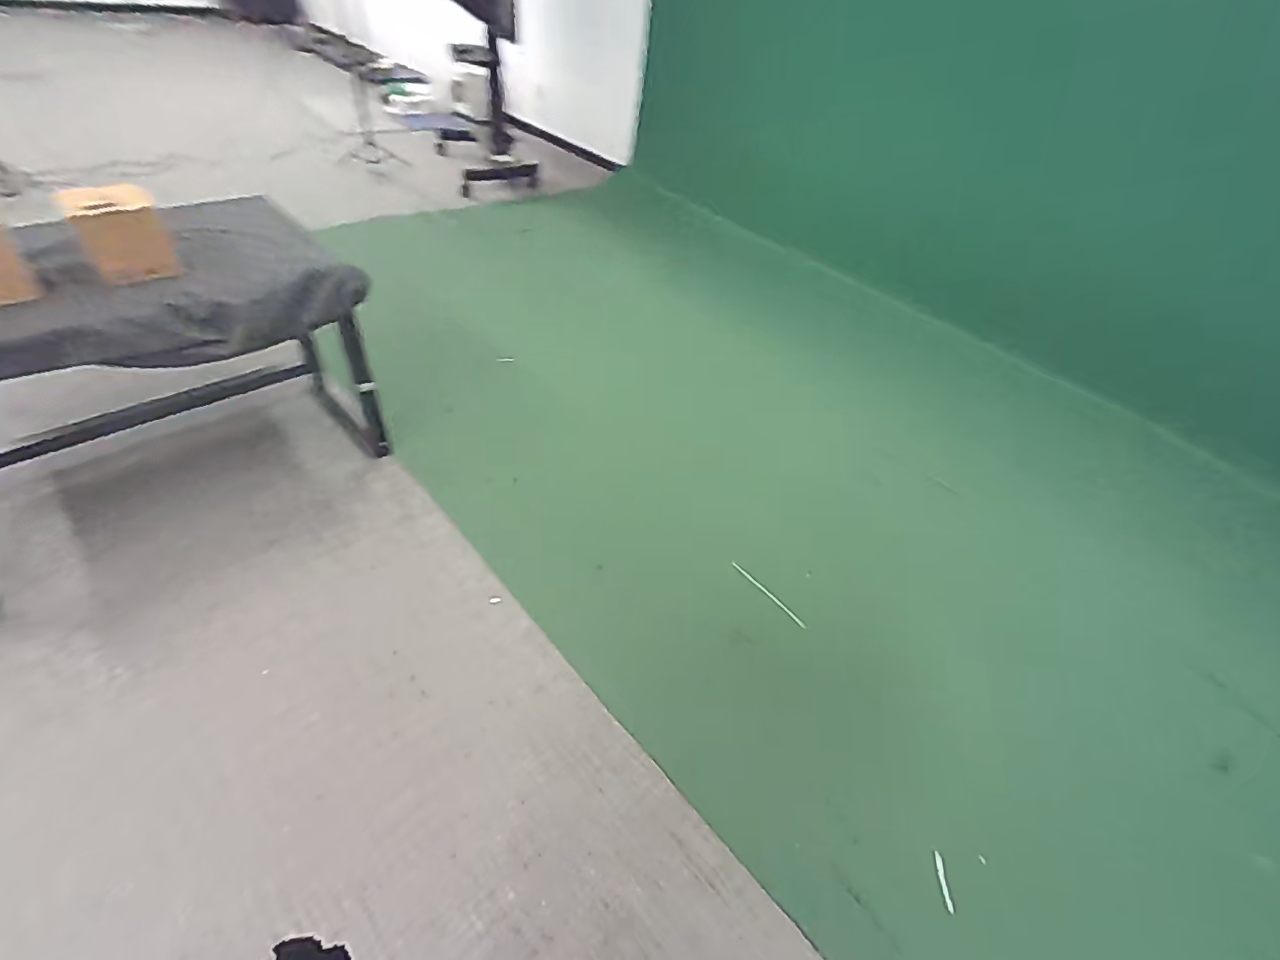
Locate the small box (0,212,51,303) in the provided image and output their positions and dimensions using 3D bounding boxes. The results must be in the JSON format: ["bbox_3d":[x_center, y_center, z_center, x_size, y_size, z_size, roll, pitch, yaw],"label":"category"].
[{"bbox_3d":[-1.471,-0.492,1.184,0.179,0.176,0.168,-32,58,-34],"label":"small box"}]

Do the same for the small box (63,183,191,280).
[{"bbox_3d":[-1.264,-0.612,1.341,0.168,0.176,0.179,-29,56,-33],"label":"small box"}]
